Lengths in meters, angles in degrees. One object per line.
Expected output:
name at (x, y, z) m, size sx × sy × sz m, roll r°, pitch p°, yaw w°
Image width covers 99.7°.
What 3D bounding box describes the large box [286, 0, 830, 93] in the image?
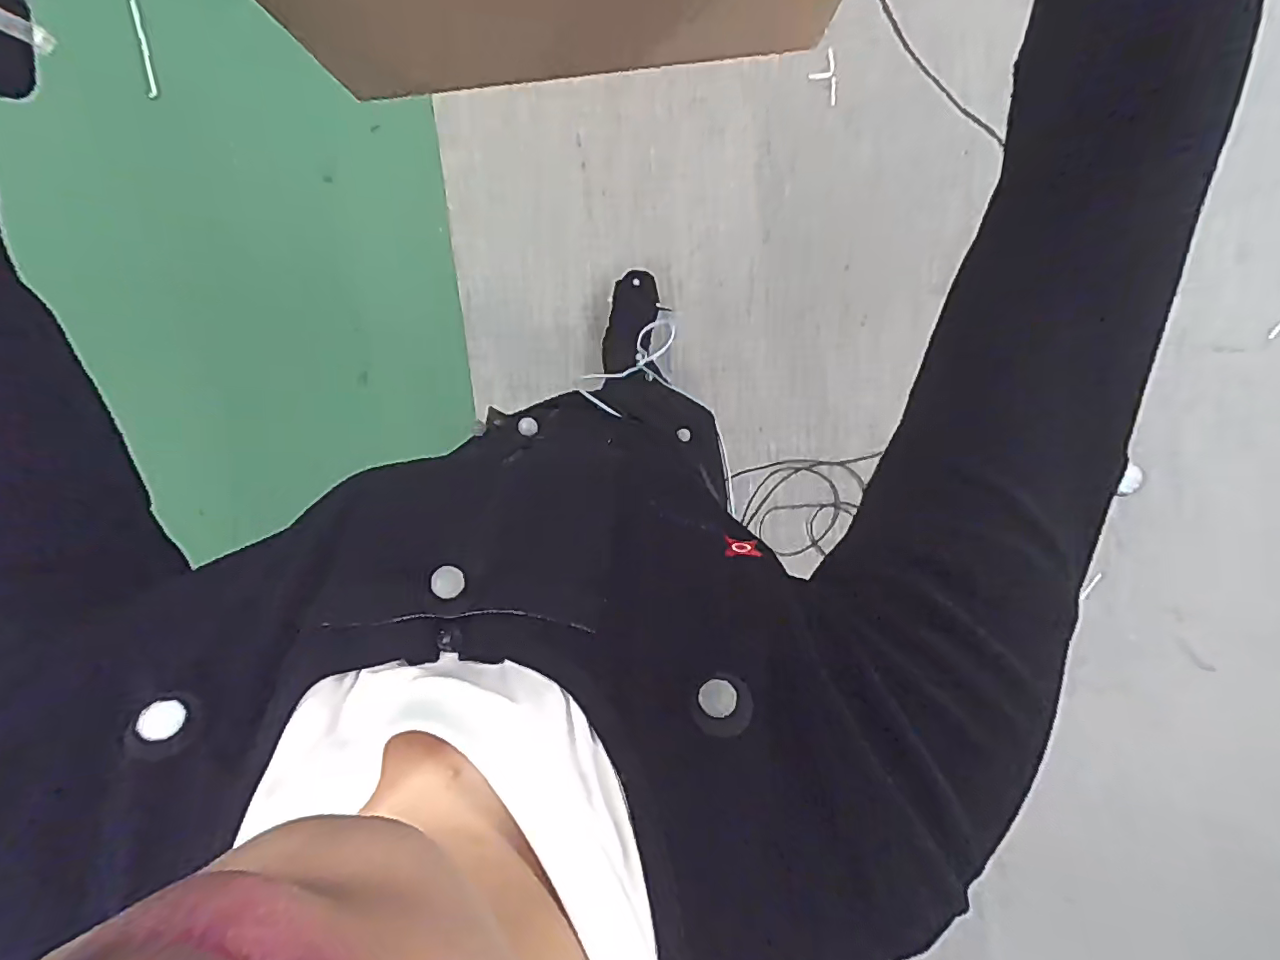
large box at (-0.060, -0.482, 0.302) m, size 0.408 × 0.320 × 0.320 m, roll -6°, pitch 100°, yaw 0°
